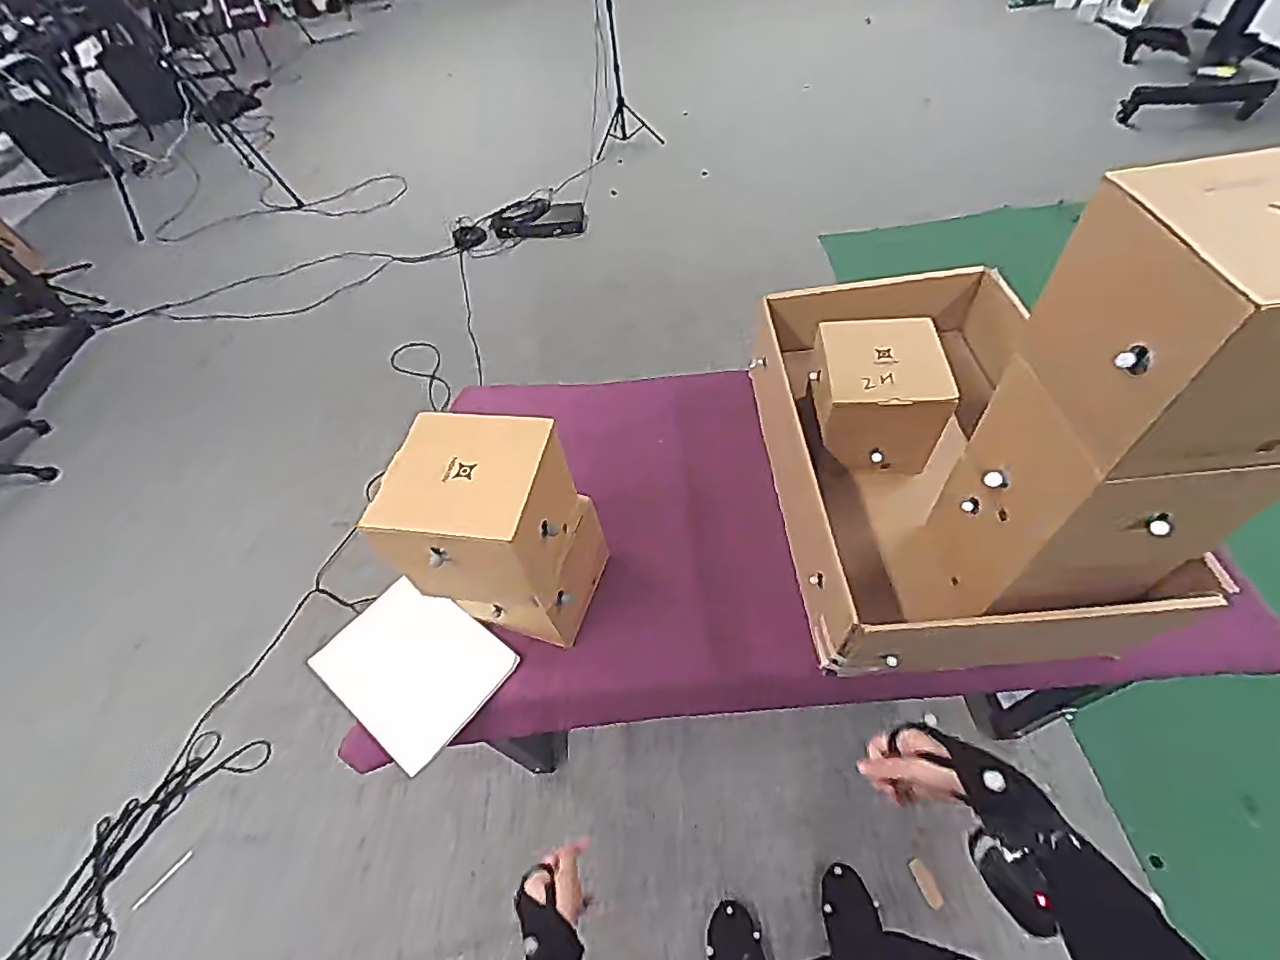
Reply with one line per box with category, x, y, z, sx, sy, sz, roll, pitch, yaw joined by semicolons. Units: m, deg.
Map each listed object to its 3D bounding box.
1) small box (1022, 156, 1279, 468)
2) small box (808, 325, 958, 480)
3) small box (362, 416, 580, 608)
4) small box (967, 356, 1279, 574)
small box;0.448;-0.121;0.422;0.168;0.176;0.179;-5;52;6
small box;0.364;-0.120;0.848;0.168;0.176;0.179;0;54;9
small box;-0.183;0.043;0.656;0.179;0.176;0.168;3;54;12
small box;0.473;-0.018;0.546;0.179;0.176;0.168;-6;52;7
